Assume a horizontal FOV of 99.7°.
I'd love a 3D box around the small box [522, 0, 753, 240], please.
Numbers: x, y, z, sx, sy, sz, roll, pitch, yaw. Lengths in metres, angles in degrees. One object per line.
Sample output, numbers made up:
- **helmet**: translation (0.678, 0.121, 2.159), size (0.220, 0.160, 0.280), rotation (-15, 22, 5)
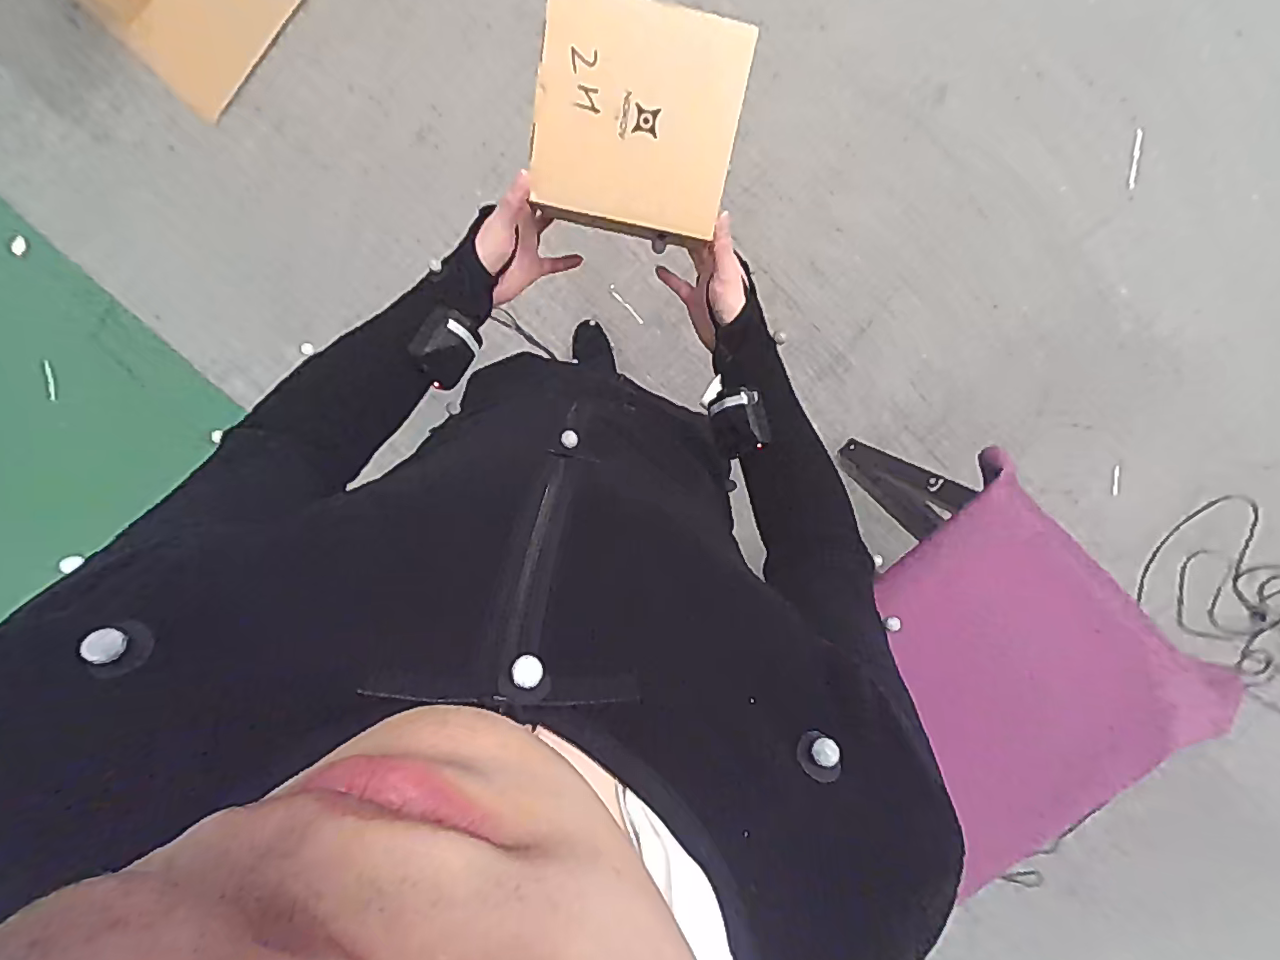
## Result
- **small box**: translation (-0.008, -0.344, 0.539), size (0.179, 0.176, 0.168), rotation (10, 110, -5)
